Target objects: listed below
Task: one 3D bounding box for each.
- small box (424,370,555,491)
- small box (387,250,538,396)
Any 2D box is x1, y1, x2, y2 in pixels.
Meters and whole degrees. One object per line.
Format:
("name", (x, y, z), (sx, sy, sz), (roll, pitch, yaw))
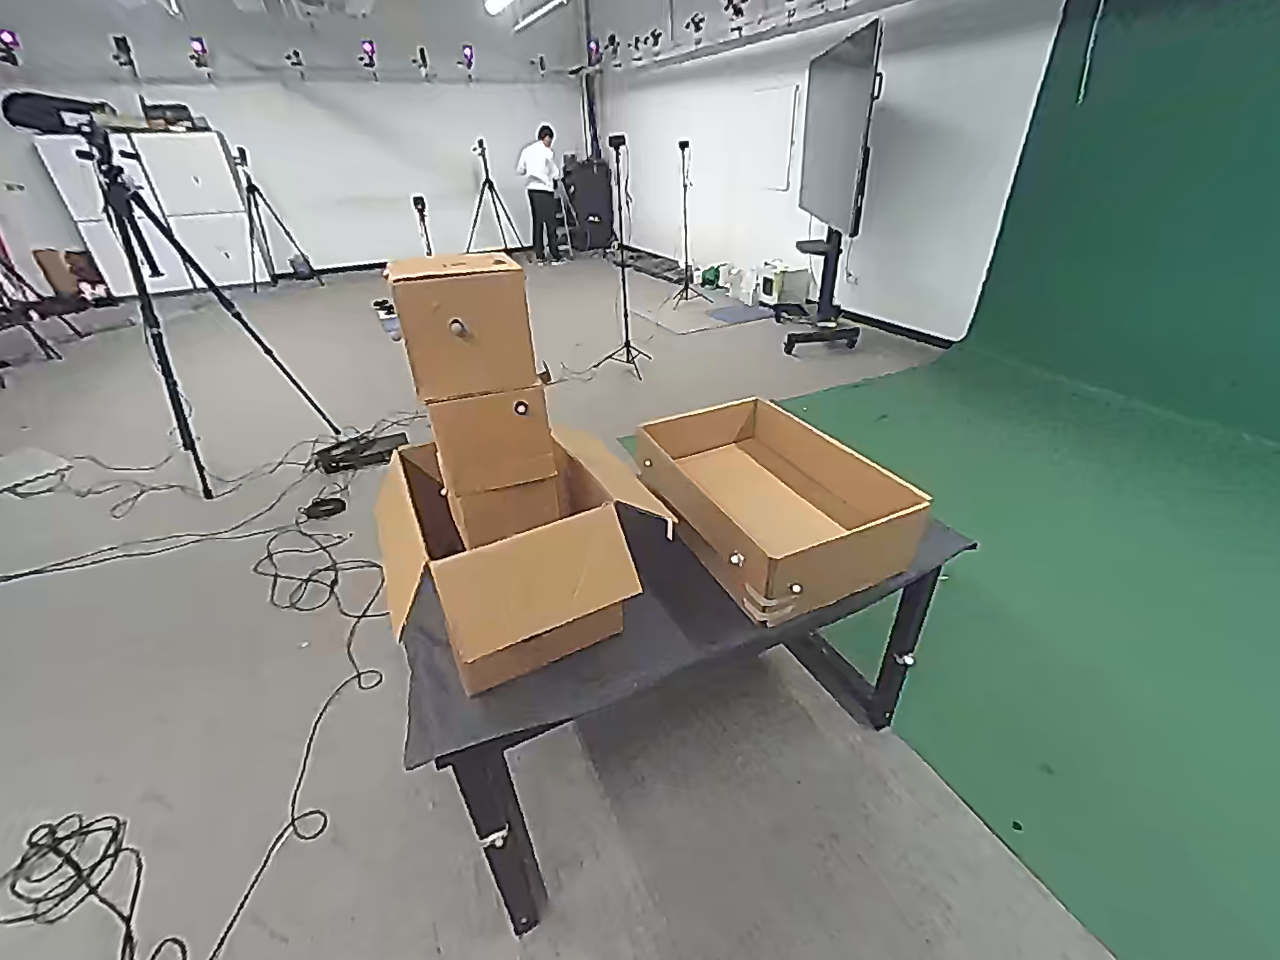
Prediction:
("small box", (-0.250, -0.099, 0.900), (0.179, 0.176, 0.168), (-12, 34, -16))
("small box", (-0.264, -0.238, 0.813), (0.179, 0.176, 0.168), (-14, 34, -17))
